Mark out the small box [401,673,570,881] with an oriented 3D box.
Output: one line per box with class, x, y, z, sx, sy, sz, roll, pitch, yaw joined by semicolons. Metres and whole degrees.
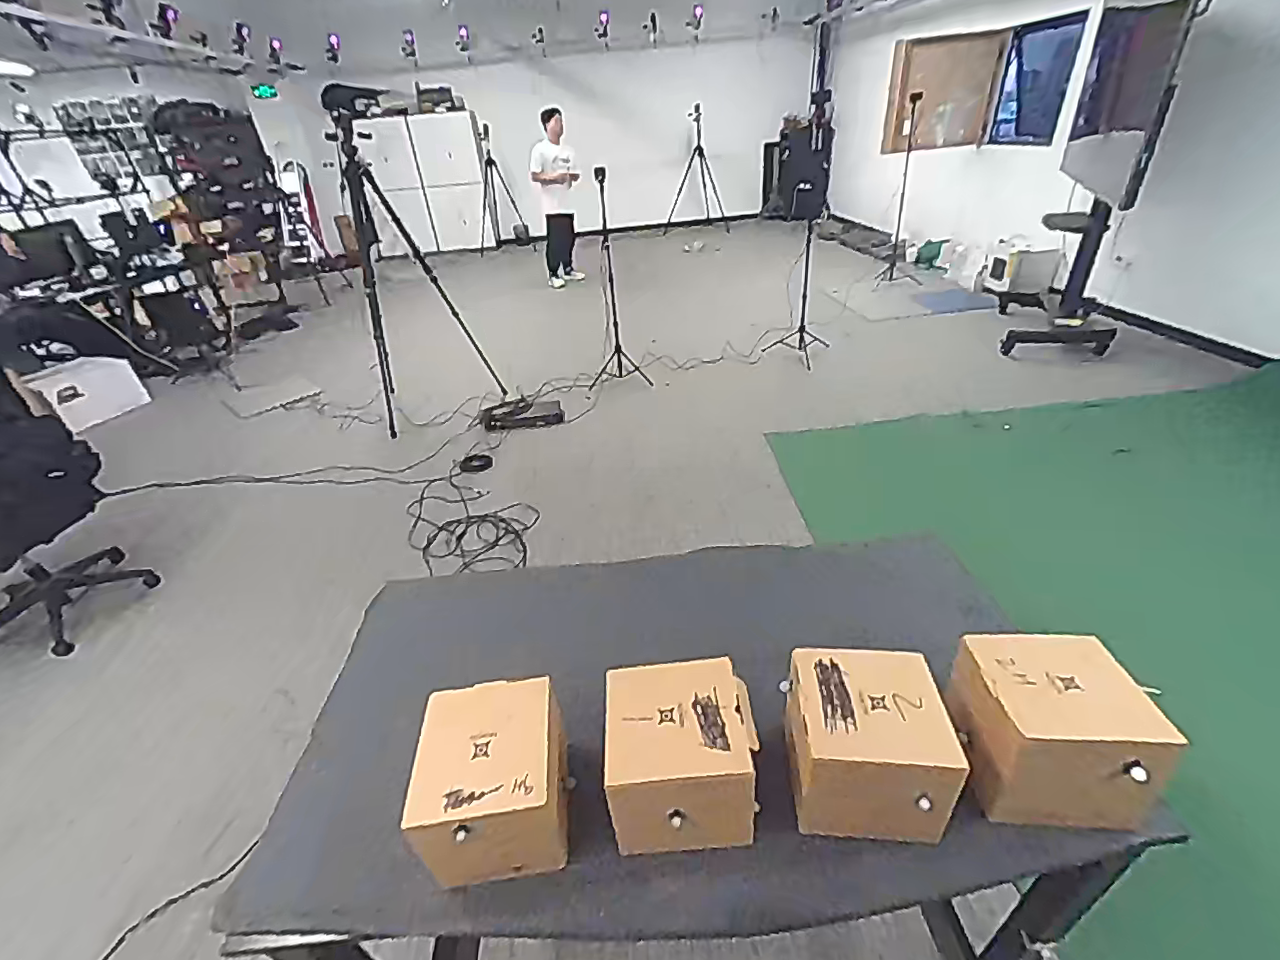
small box;-0.189;0.391;0.721;0.168;0.176;0.179;-8;33;-2
